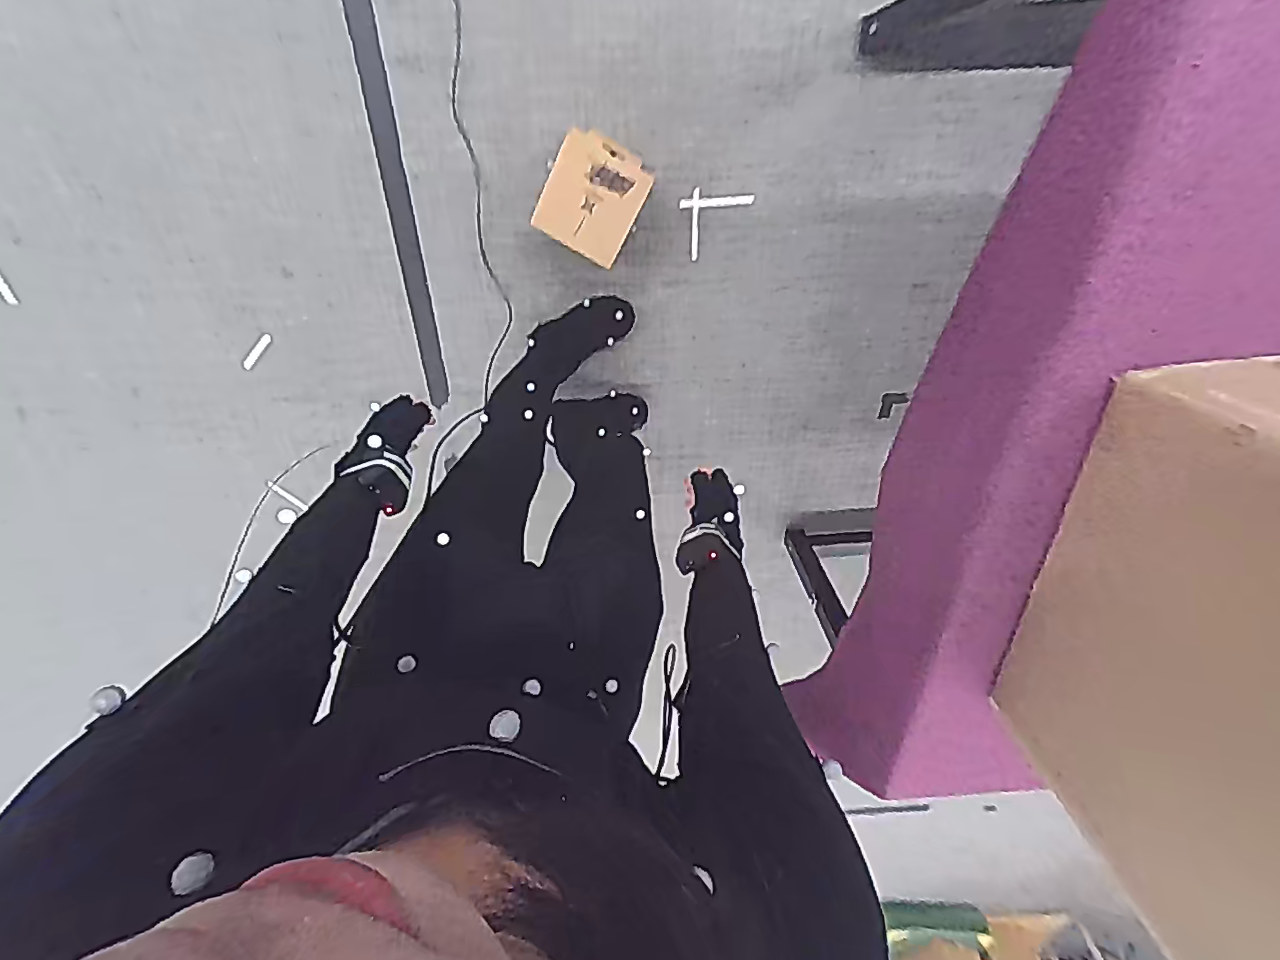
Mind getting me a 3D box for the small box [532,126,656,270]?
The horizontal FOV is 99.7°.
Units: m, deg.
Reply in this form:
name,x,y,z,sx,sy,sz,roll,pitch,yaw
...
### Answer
name,x,y,z,sx,sy,sz,roll,pitch,yaw
small box,-0.089,-0.531,1.022,0.168,0.176,0.179,25,116,-17
